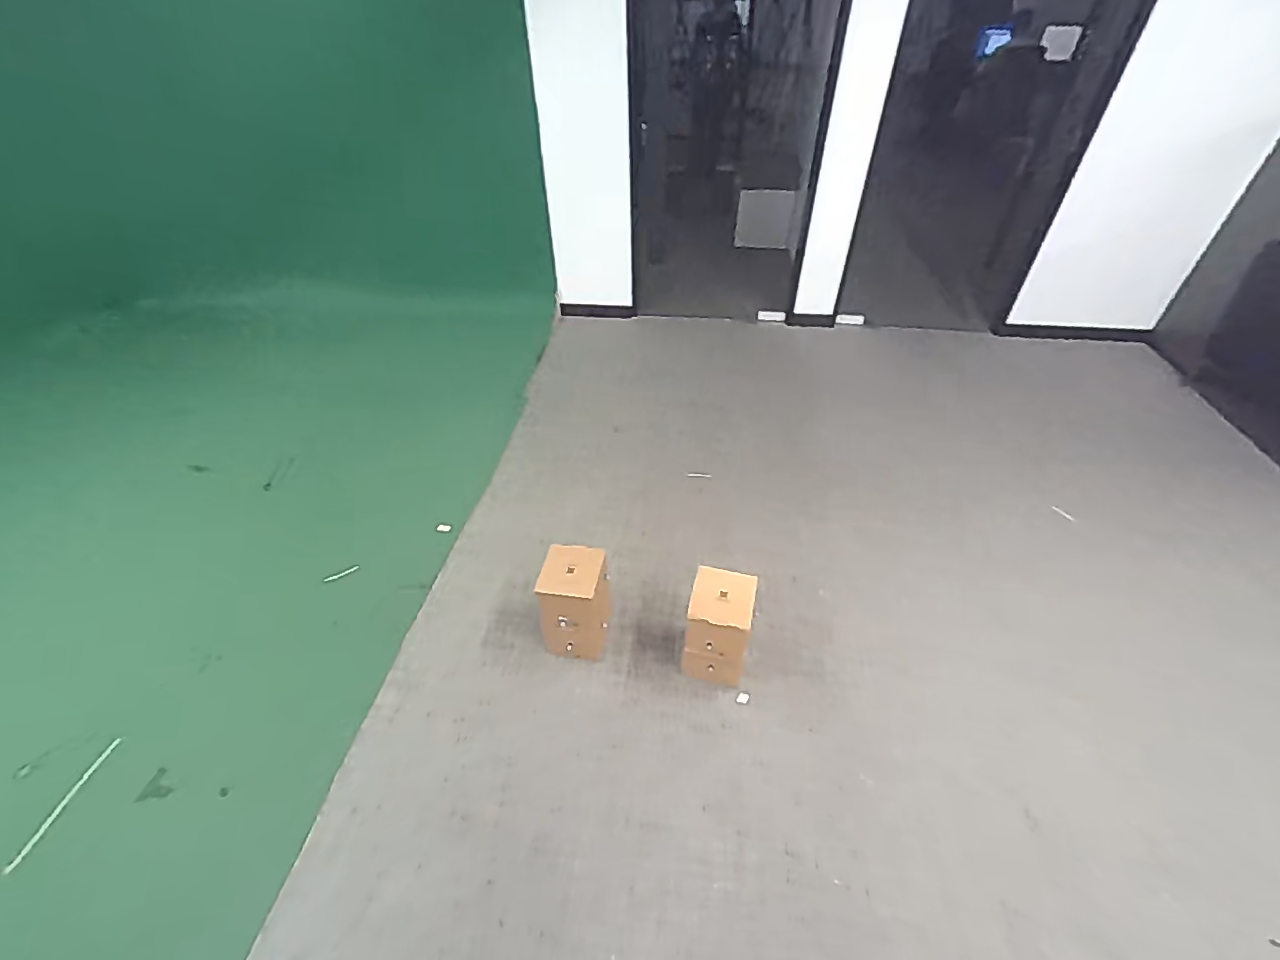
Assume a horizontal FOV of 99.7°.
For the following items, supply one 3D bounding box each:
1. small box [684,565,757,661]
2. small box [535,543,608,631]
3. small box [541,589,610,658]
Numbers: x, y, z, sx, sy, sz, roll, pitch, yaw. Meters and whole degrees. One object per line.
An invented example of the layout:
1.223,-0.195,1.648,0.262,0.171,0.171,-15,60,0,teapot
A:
0.219,0.368,1.493,0.168,0.176,0.179,10,45,12,small box
-0.190,0.309,1.562,0.168,0.176,0.179,5,44,7,small box
-0.191,0.427,1.675,0.168,0.176,0.179,8,44,9,small box
